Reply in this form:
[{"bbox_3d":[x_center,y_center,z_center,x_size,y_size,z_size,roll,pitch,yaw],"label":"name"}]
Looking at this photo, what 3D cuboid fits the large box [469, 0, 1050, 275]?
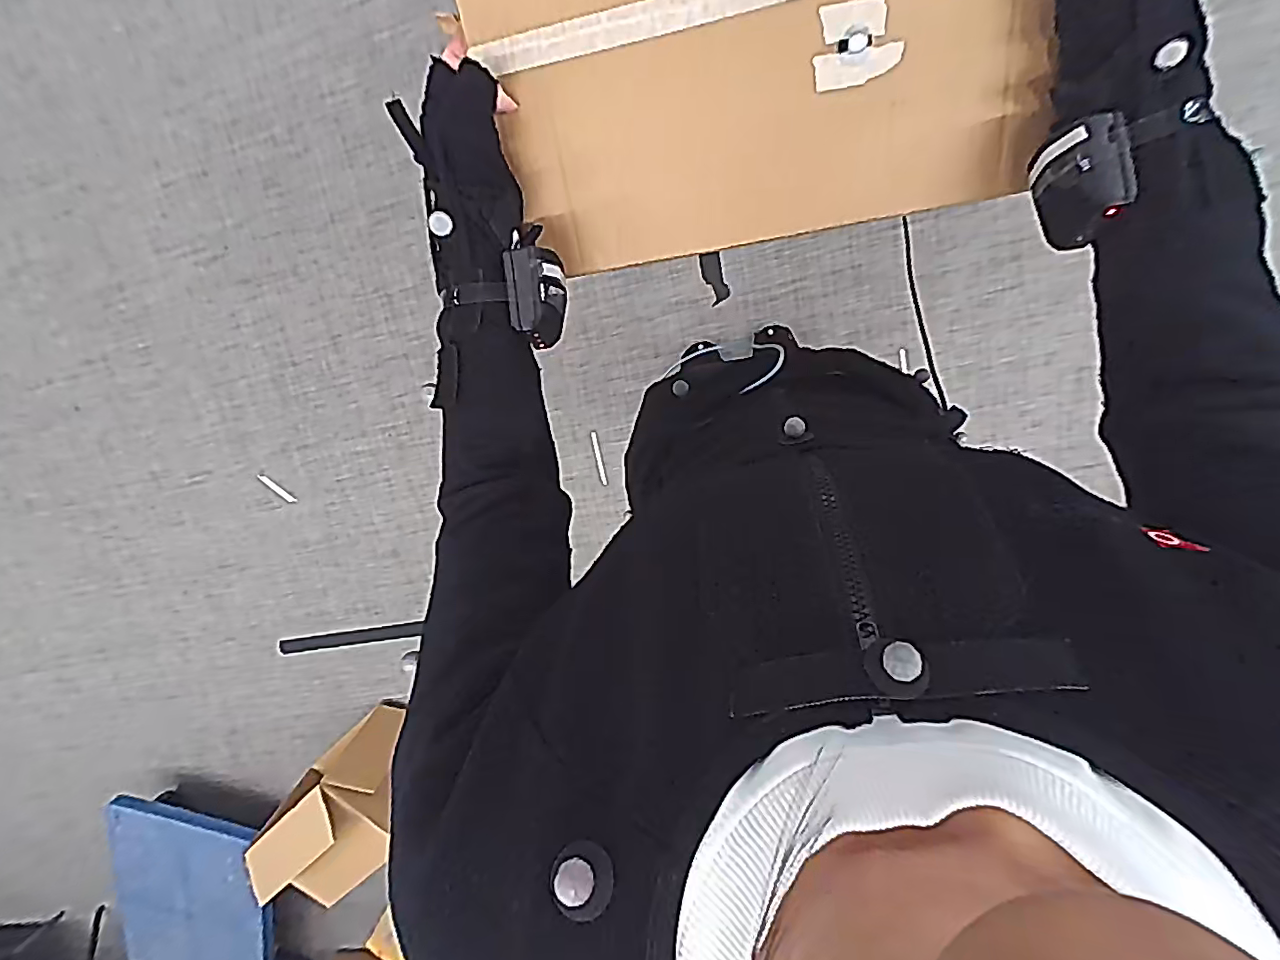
[{"bbox_3d":[0.088,-0.404,0.514,0.408,0.320,0.320,-8,114,9],"label":"large box"}]
